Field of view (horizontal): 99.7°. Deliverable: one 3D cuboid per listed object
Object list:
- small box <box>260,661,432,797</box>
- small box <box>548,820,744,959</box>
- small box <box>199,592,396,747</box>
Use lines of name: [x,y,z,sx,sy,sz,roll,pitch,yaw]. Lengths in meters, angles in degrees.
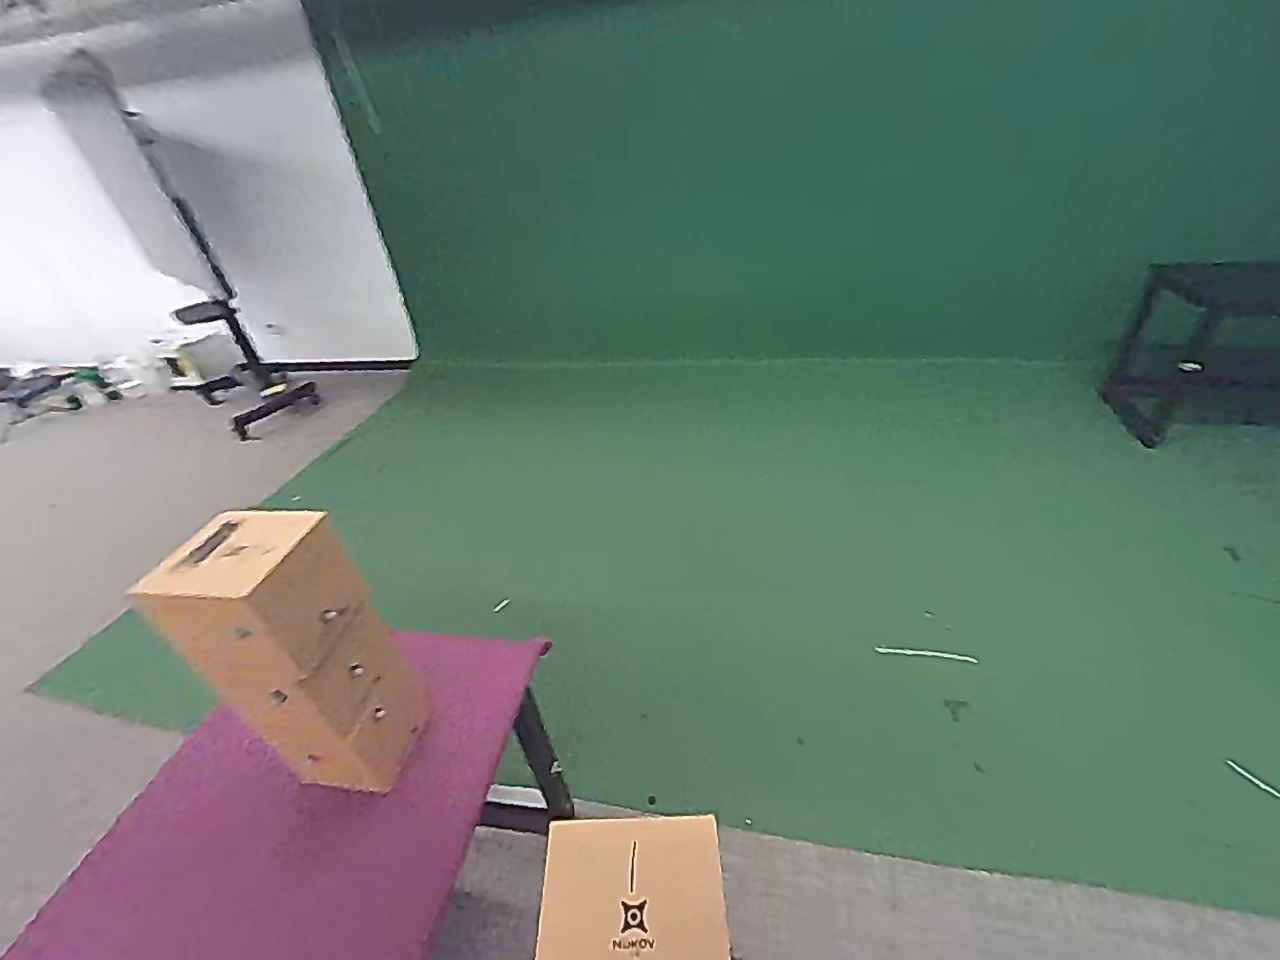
small box: [-0.510,0.438,0.964,0.179,0.176,0.168,-1,36,12]
small box: [0.011,0.448,0.506,0.168,0.176,0.179,-3,37,3]
small box: [-0.531,0.304,0.870,0.179,0.176,0.168,1,35,13]
